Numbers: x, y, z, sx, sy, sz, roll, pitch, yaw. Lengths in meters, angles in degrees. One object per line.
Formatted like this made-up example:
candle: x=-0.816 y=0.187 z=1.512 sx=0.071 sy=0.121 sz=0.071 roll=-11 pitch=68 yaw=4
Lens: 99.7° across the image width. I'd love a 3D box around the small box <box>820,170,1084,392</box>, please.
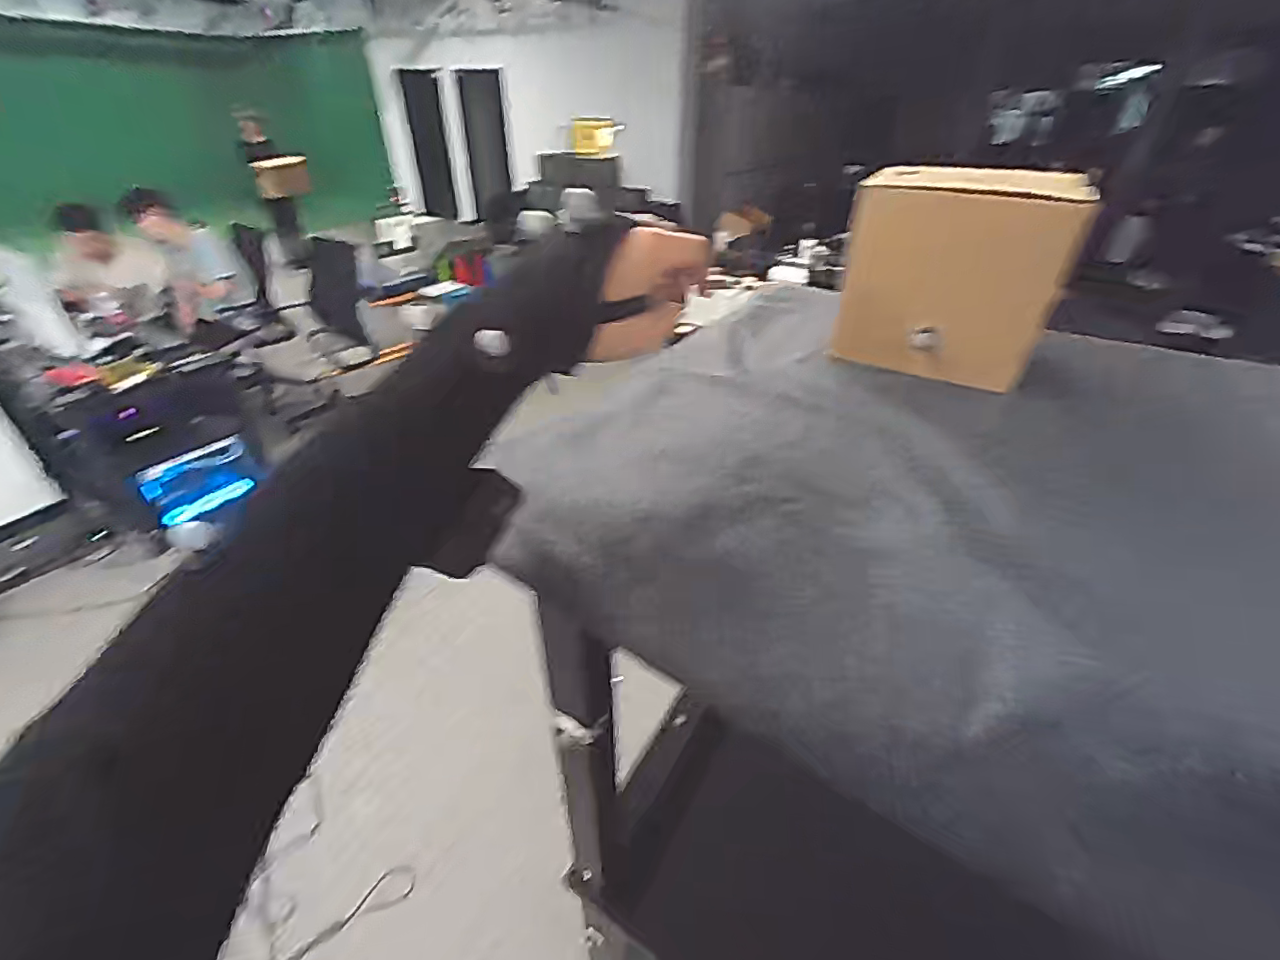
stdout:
small box: x=0.306 y=-0.207 z=0.555 sx=0.179 sy=0.176 sz=0.168 roll=19 pitch=39 yaw=22
